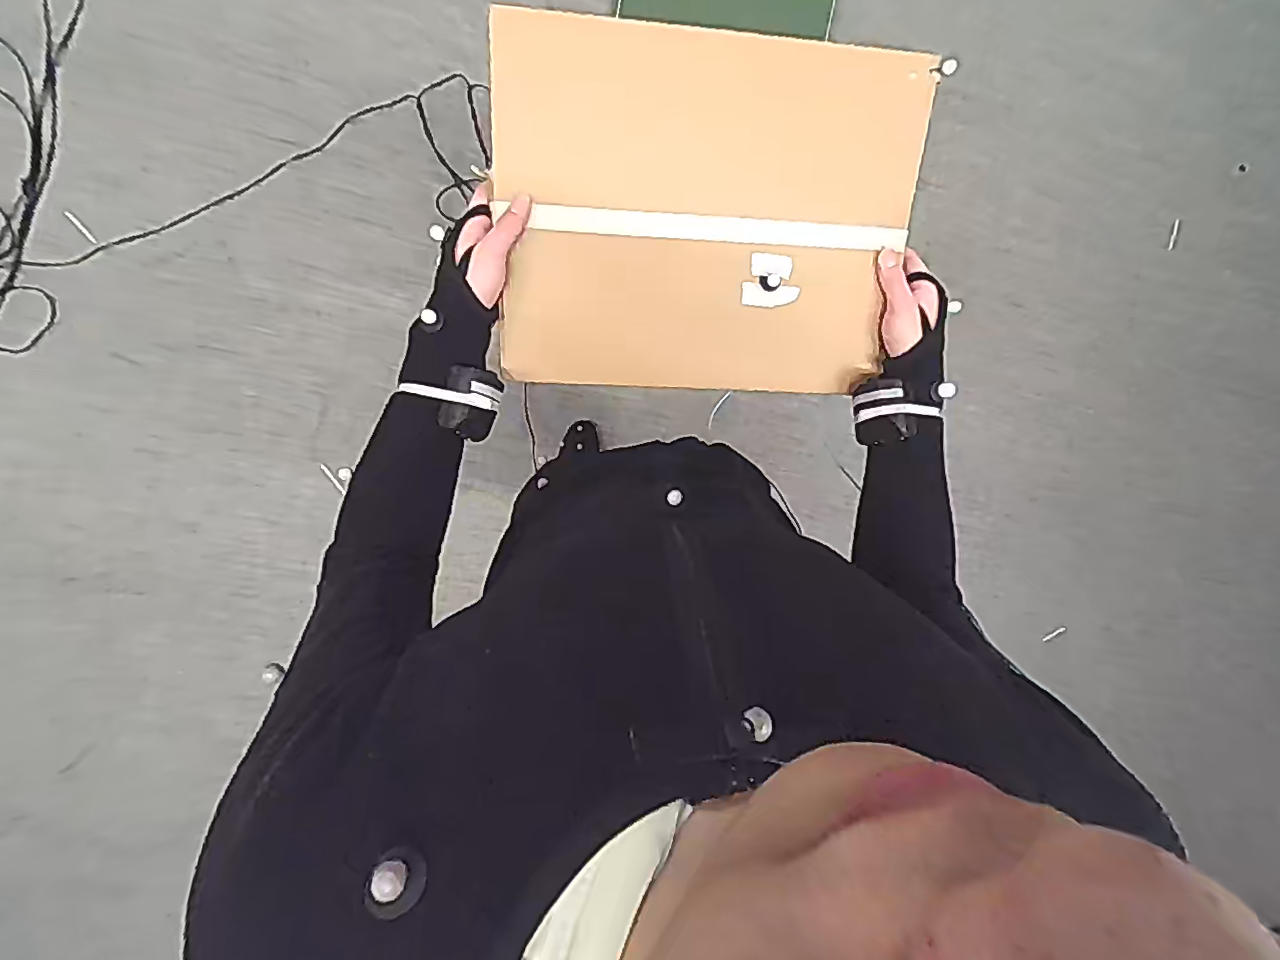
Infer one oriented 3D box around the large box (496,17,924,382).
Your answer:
[{"bbox_3d":[0.049,-0.302,0.674,0.408,0.320,0.320,1,110,-7],"label":"large box"}]
